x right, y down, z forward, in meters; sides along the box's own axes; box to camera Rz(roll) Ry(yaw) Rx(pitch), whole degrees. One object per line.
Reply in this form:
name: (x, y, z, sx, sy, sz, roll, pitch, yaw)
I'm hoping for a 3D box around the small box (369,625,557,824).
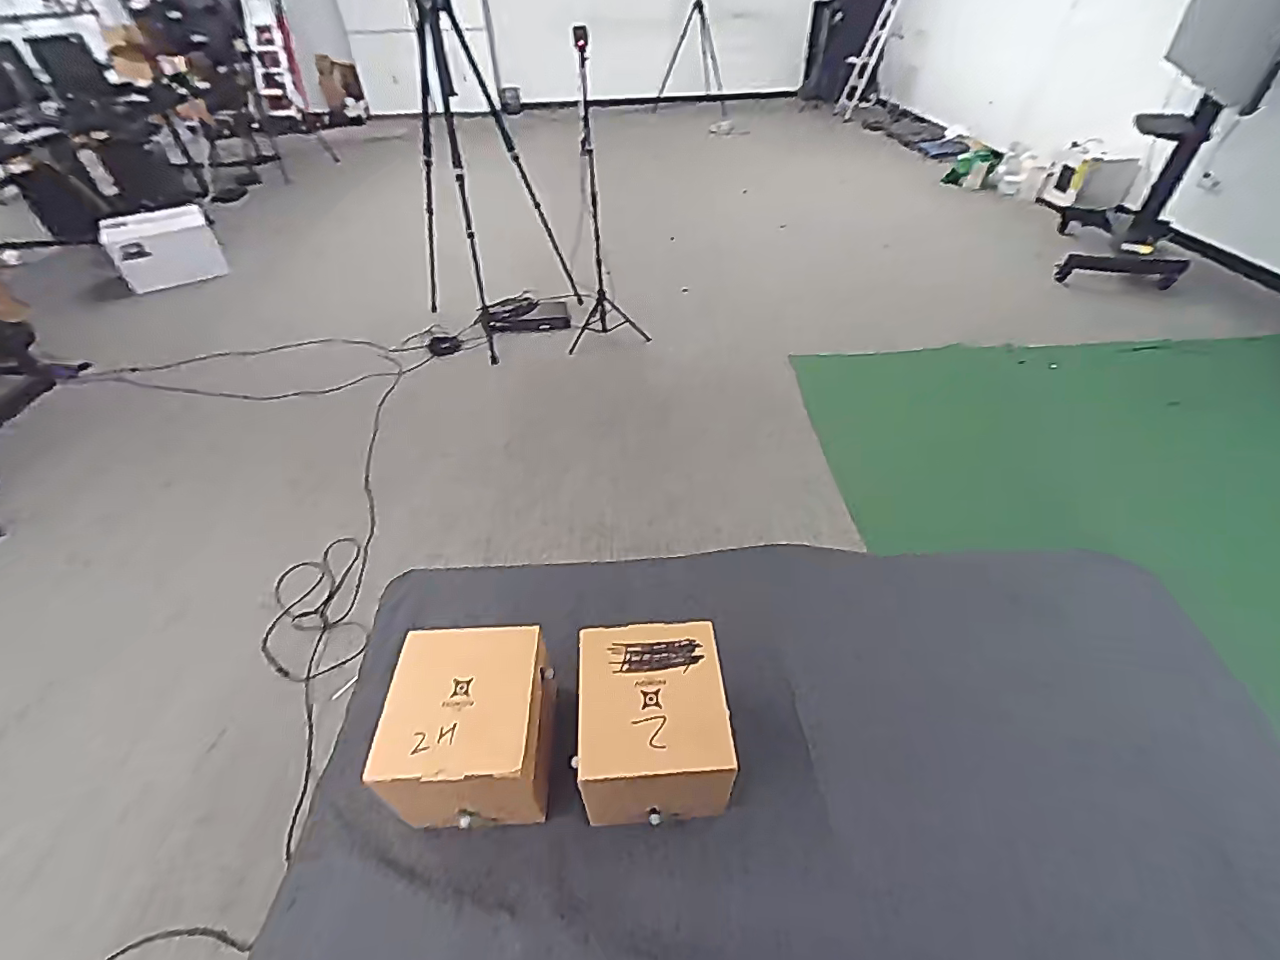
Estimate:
small box: (-0.199, 0.301, 0.670, 0.168, 0.176, 0.179, -2, 43, 0)
